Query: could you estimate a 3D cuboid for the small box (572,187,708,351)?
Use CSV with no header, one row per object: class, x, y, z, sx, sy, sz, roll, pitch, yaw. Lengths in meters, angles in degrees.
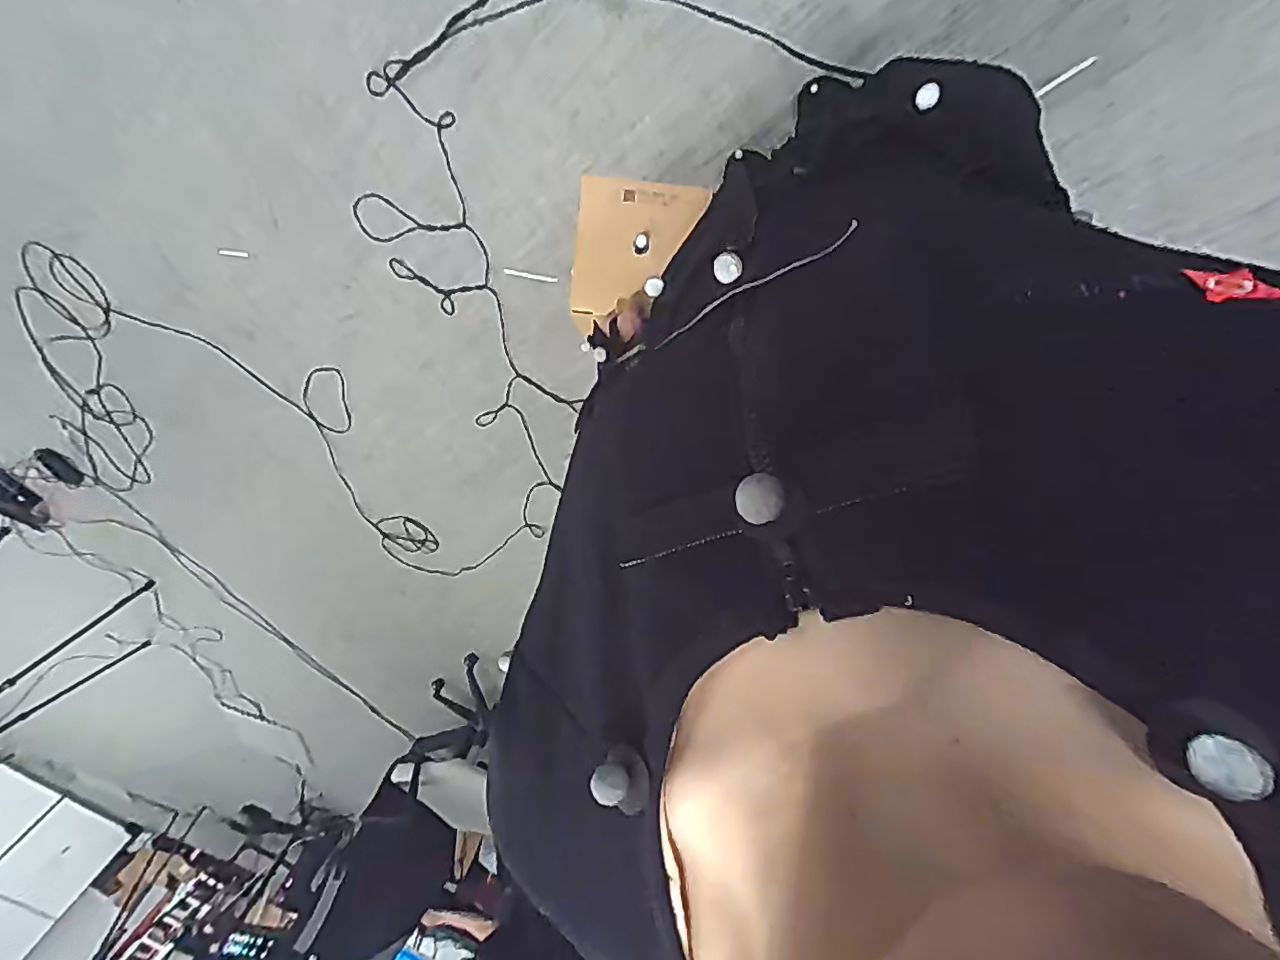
small box,0.000,-0.289,0.764,0.168,0.179,0.176,6,93,0
